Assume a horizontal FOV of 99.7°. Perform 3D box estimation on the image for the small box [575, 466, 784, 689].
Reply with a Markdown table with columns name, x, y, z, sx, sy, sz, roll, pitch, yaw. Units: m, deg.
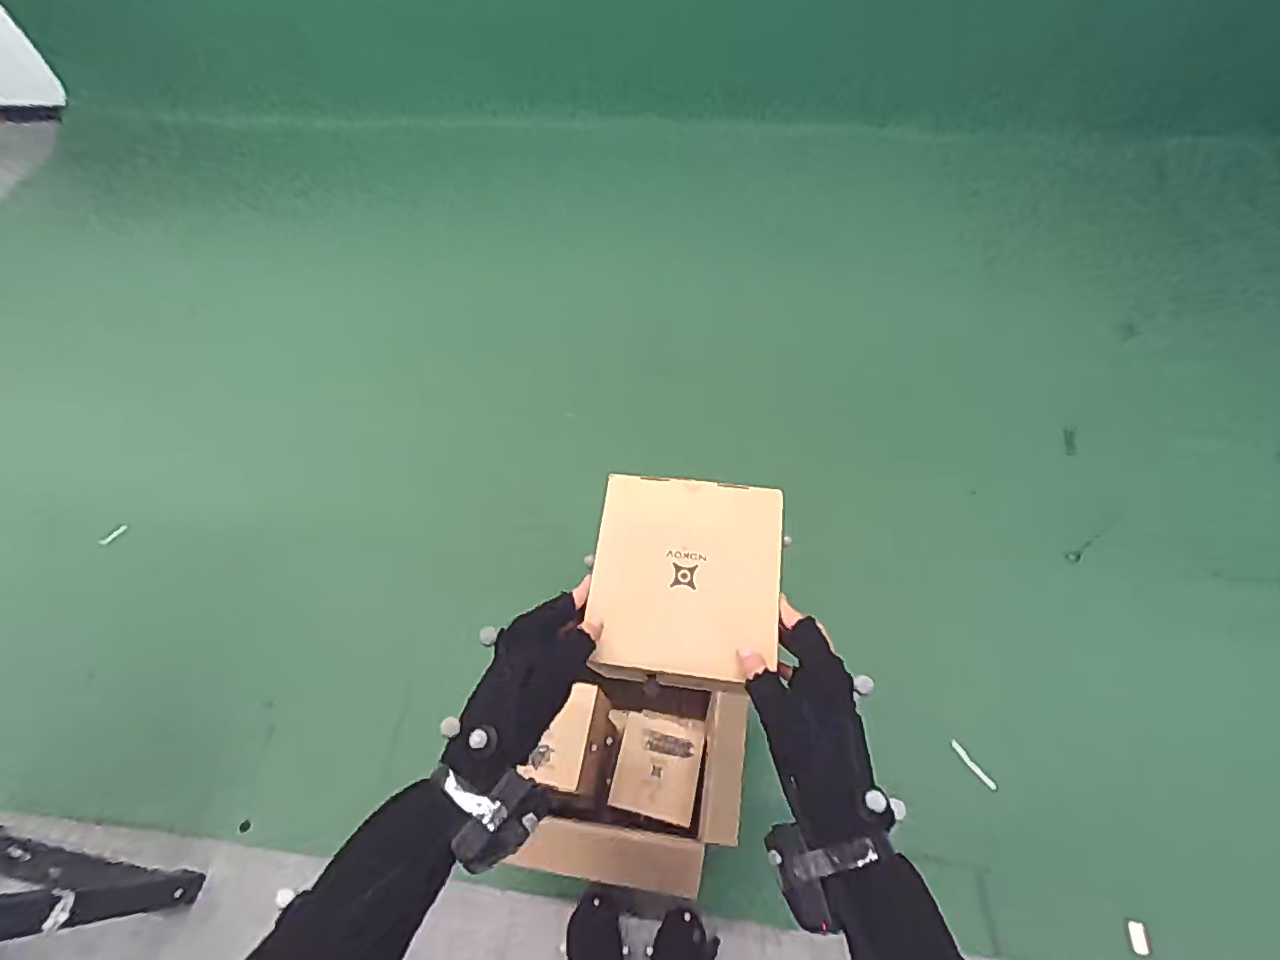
| name | x | y | z | sx | sy | sz | roll | pitch | yaw |
| --- | --- | --- | --- | --- | --- | --- | --- | --- | --- |
| small box | 0.045 | 0.105 | 0.540 | 0.168 | 0.176 | 0.179 | 6 | 67 | 7 |
